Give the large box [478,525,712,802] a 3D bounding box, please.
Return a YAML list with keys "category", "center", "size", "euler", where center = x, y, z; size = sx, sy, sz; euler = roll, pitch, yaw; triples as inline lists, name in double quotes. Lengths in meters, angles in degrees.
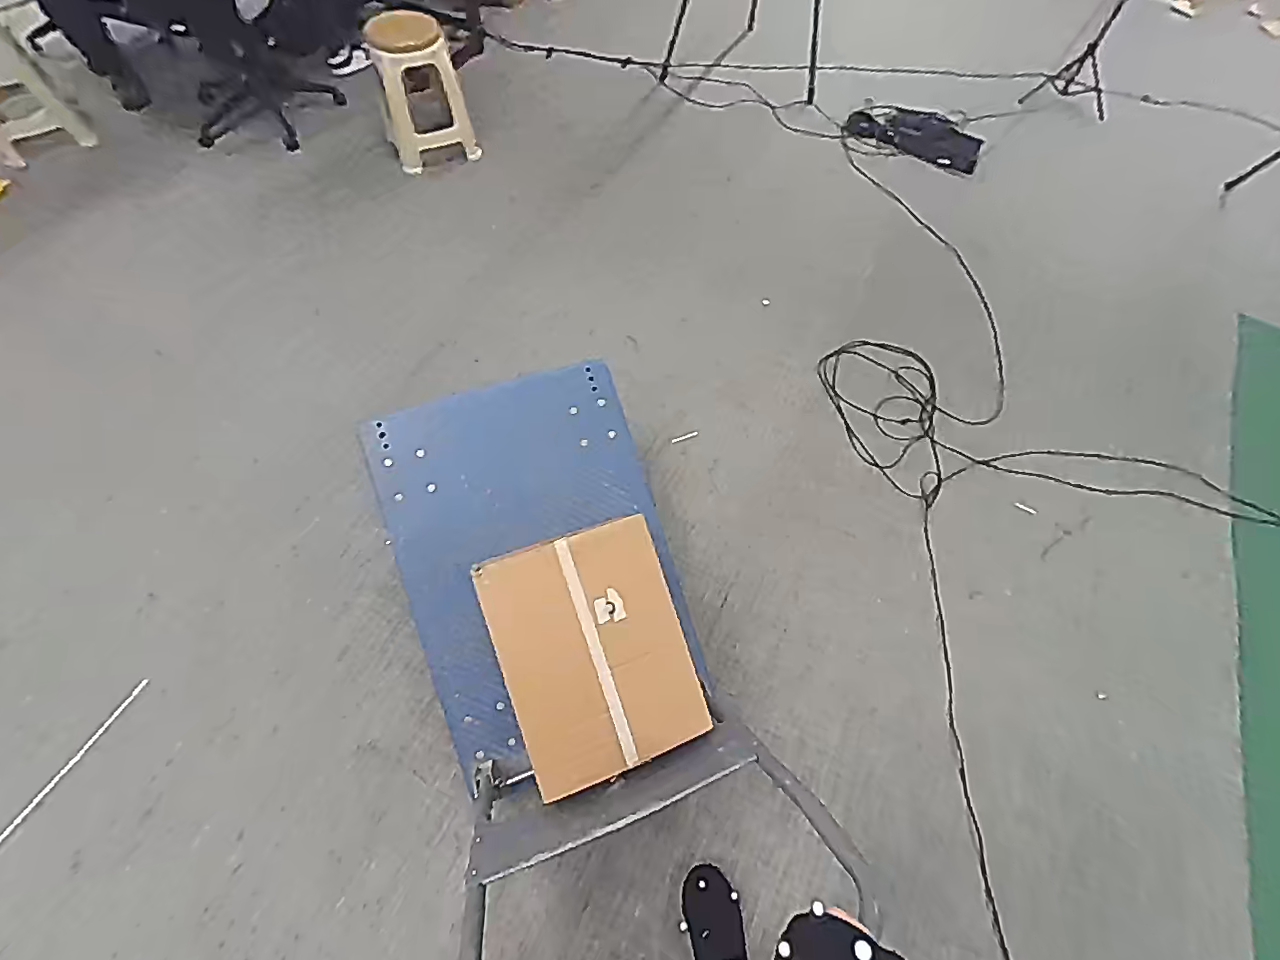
- category: "large box"
  center: [-0.100, 0.331, 1.095]
  size: [0.320, 0.320, 0.408]
  euler: [-18, 87, -13]
